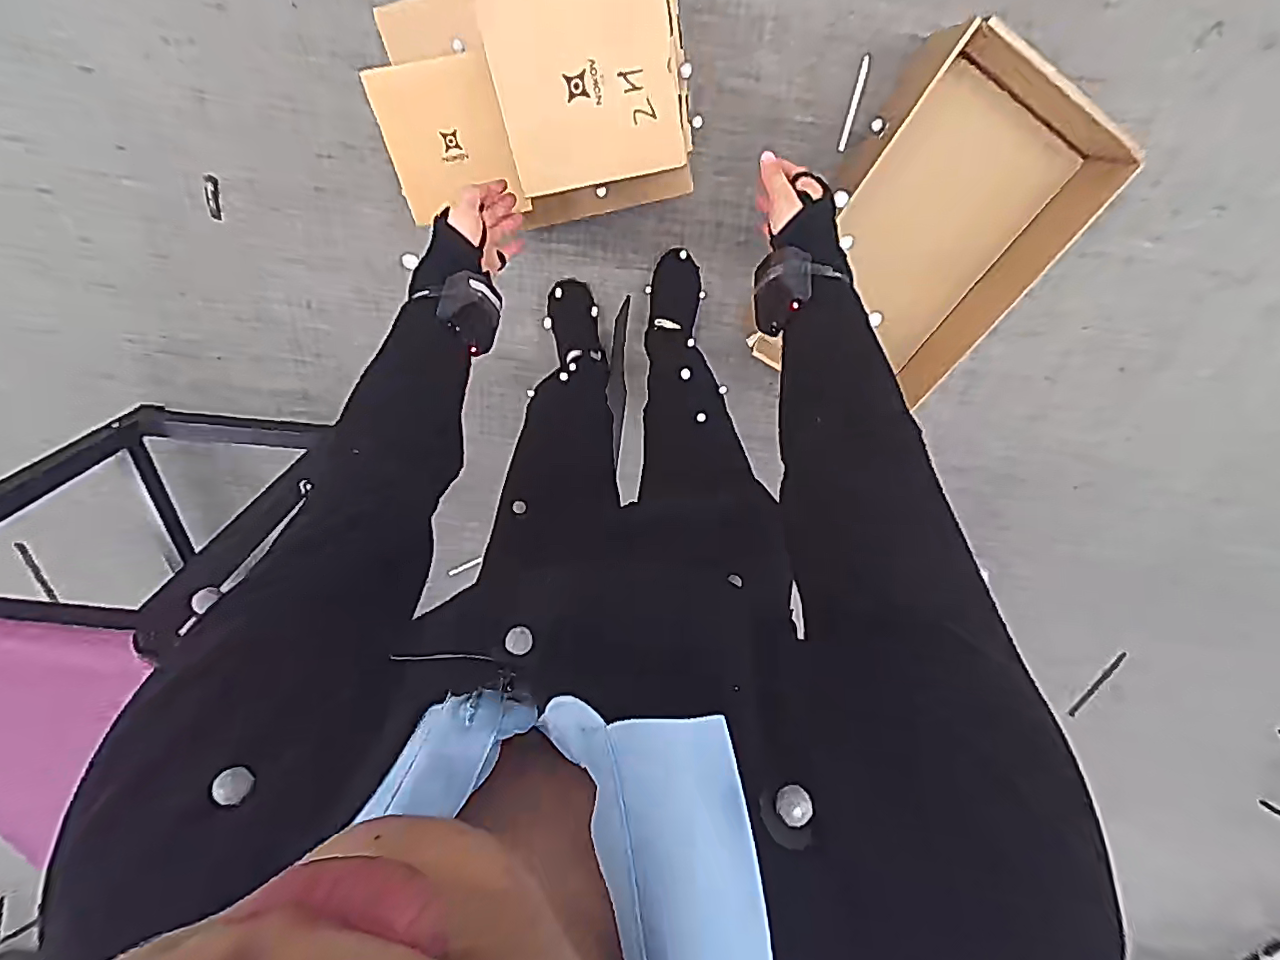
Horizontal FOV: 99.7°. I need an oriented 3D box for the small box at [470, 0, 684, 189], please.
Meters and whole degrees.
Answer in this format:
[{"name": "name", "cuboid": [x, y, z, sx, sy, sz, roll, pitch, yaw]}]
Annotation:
[{"name": "small box", "cuboid": [-0.048, -0.417, 0.567, 0.179, 0.176, 0.168, -7, 124, 7]}]
